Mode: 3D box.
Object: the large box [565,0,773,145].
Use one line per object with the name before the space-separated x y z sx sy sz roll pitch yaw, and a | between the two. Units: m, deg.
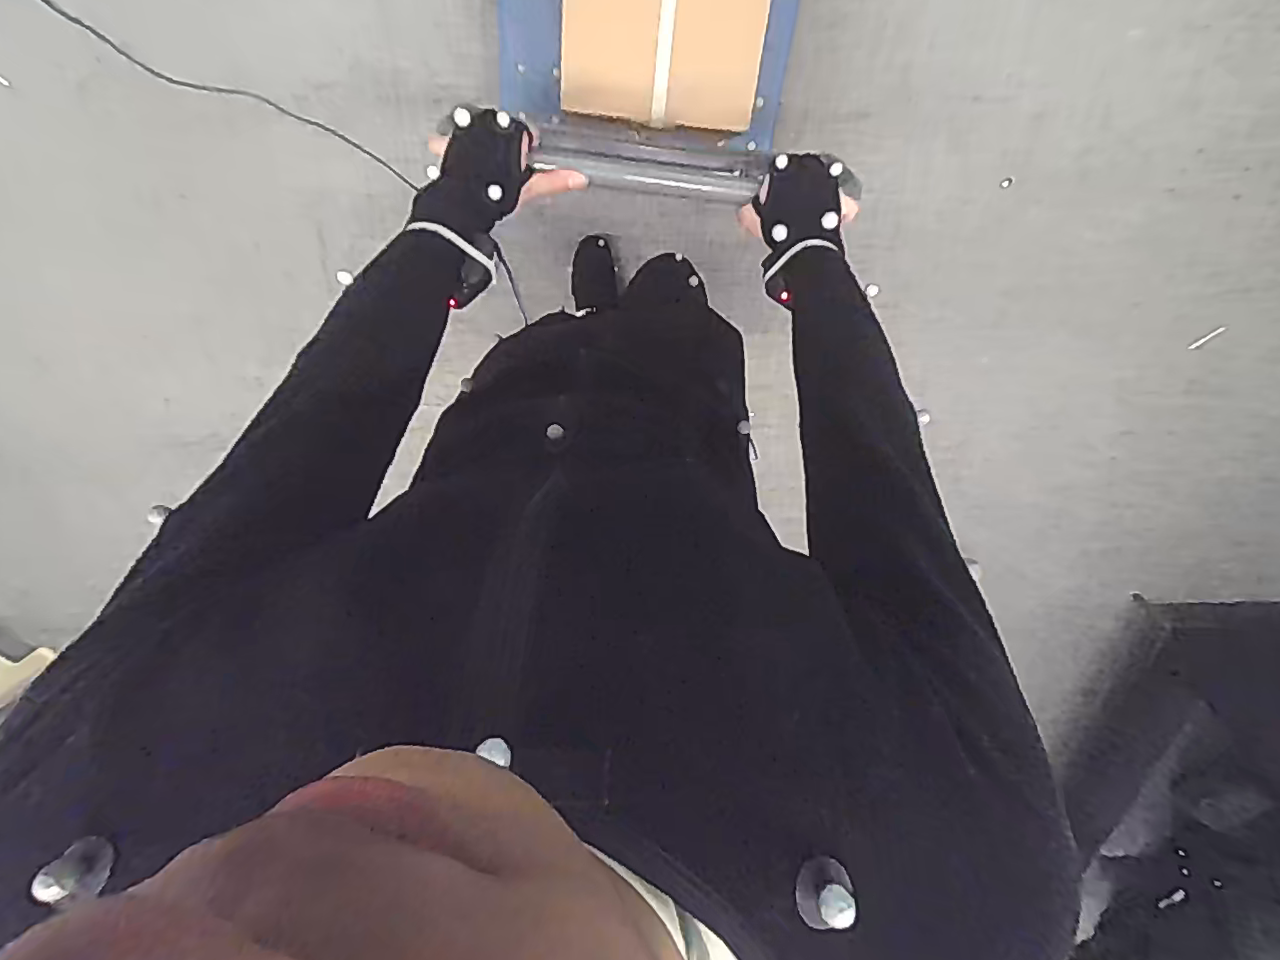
large box | 0.047 -0.830 0.924 0.320 0.320 0.408 4 118 -5
